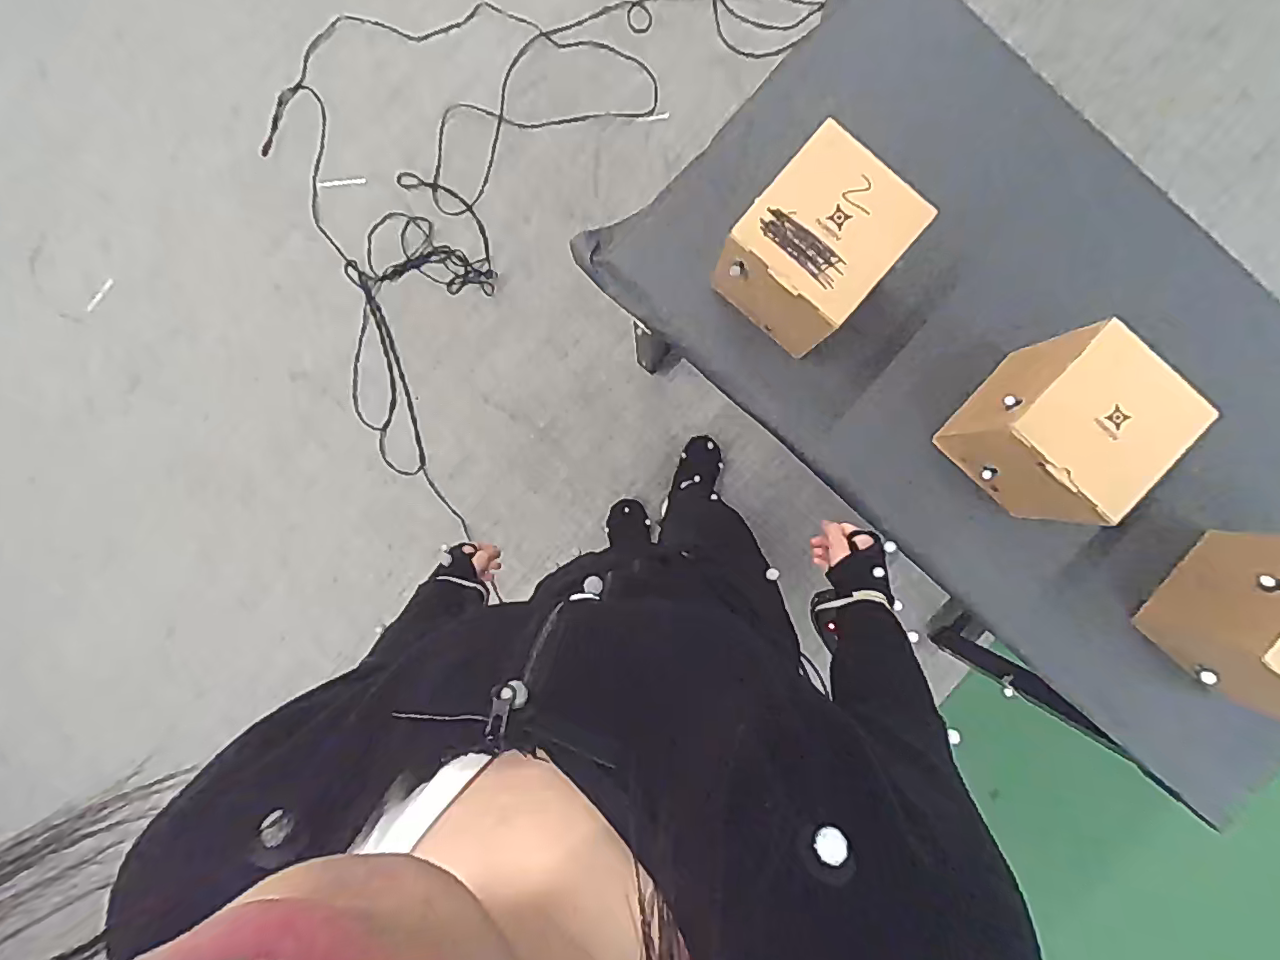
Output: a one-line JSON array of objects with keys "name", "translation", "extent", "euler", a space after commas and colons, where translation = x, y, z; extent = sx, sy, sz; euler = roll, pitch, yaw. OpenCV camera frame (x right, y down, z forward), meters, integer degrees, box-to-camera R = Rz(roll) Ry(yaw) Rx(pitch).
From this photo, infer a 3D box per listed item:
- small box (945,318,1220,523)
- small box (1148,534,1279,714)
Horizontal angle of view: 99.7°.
[{"name": "small box", "translation": [0.539, -0.069, 0.689], "extent": [0.168, 0.176, 0.179], "euler": [42, 91, 0]}, {"name": "small box", "translation": [0.819, 0.184, 0.681], "extent": [0.168, 0.176, 0.179], "euler": [41, 91, 2]}]
